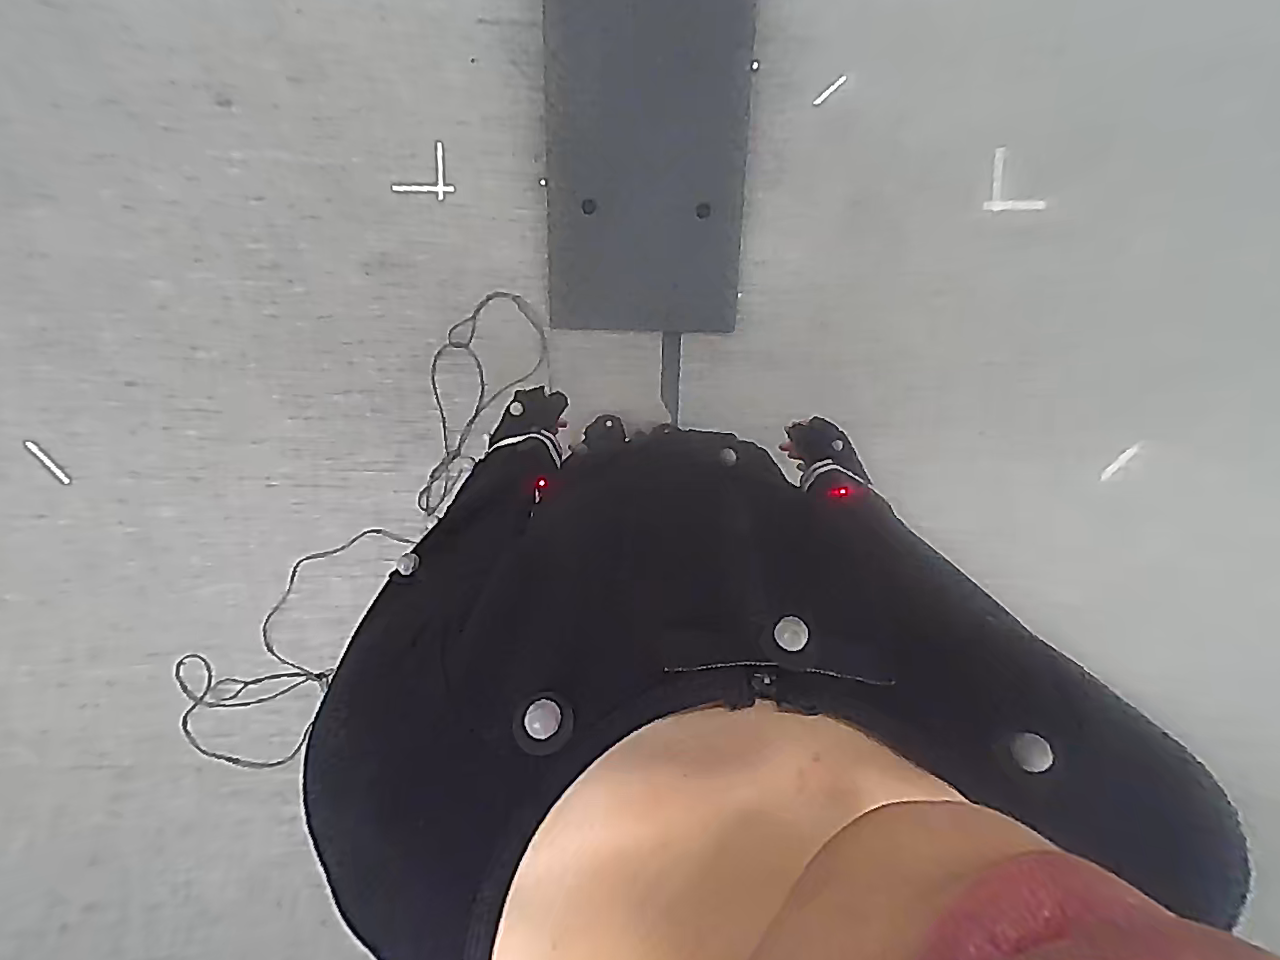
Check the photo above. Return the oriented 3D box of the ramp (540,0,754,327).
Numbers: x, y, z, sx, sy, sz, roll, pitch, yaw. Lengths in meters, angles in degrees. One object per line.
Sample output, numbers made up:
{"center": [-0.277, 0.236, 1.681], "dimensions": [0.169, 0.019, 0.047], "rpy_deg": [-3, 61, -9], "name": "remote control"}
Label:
{"center": [0.015, -0.885, 1.289], "dimensions": [0.509, 0.206, 0.991], "rpy_deg": [-2, 97, -4], "name": "ramp"}
